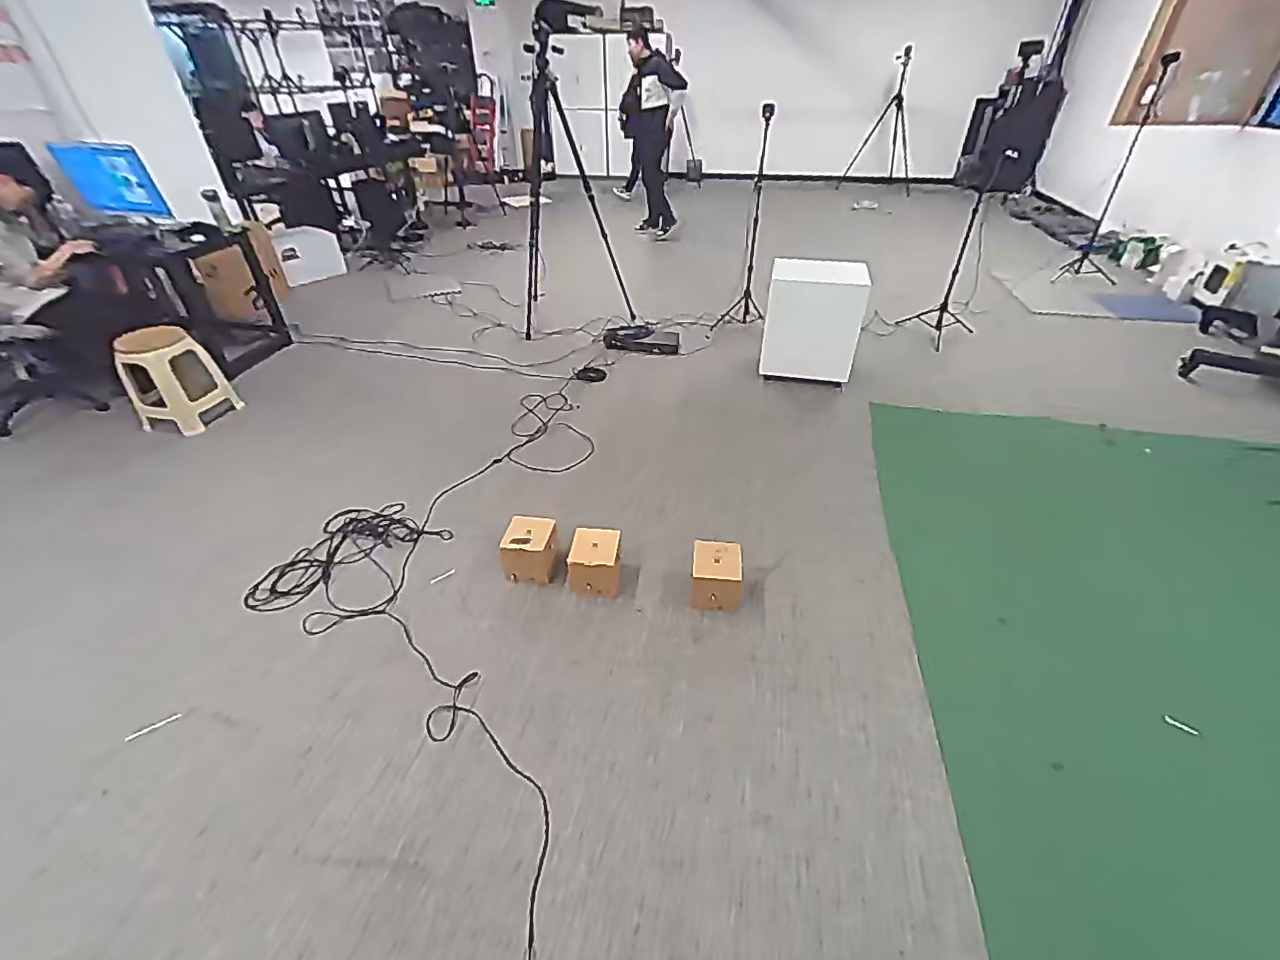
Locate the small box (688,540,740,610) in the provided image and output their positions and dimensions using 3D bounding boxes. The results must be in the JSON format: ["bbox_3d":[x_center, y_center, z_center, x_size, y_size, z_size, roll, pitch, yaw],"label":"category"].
[{"bbox_3d":[0.258,0.335,1.896,0.168,0.176,0.179,5,39,4],"label":"small box"}]

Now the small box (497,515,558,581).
[{"bbox_3d":[-0.409,0.254,2.006,0.168,0.176,0.179,5,37,7],"label":"small box"}]

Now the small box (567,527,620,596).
[{"bbox_3d":[-0.163,0.294,1.954,0.168,0.176,0.179,3,39,5],"label":"small box"}]
